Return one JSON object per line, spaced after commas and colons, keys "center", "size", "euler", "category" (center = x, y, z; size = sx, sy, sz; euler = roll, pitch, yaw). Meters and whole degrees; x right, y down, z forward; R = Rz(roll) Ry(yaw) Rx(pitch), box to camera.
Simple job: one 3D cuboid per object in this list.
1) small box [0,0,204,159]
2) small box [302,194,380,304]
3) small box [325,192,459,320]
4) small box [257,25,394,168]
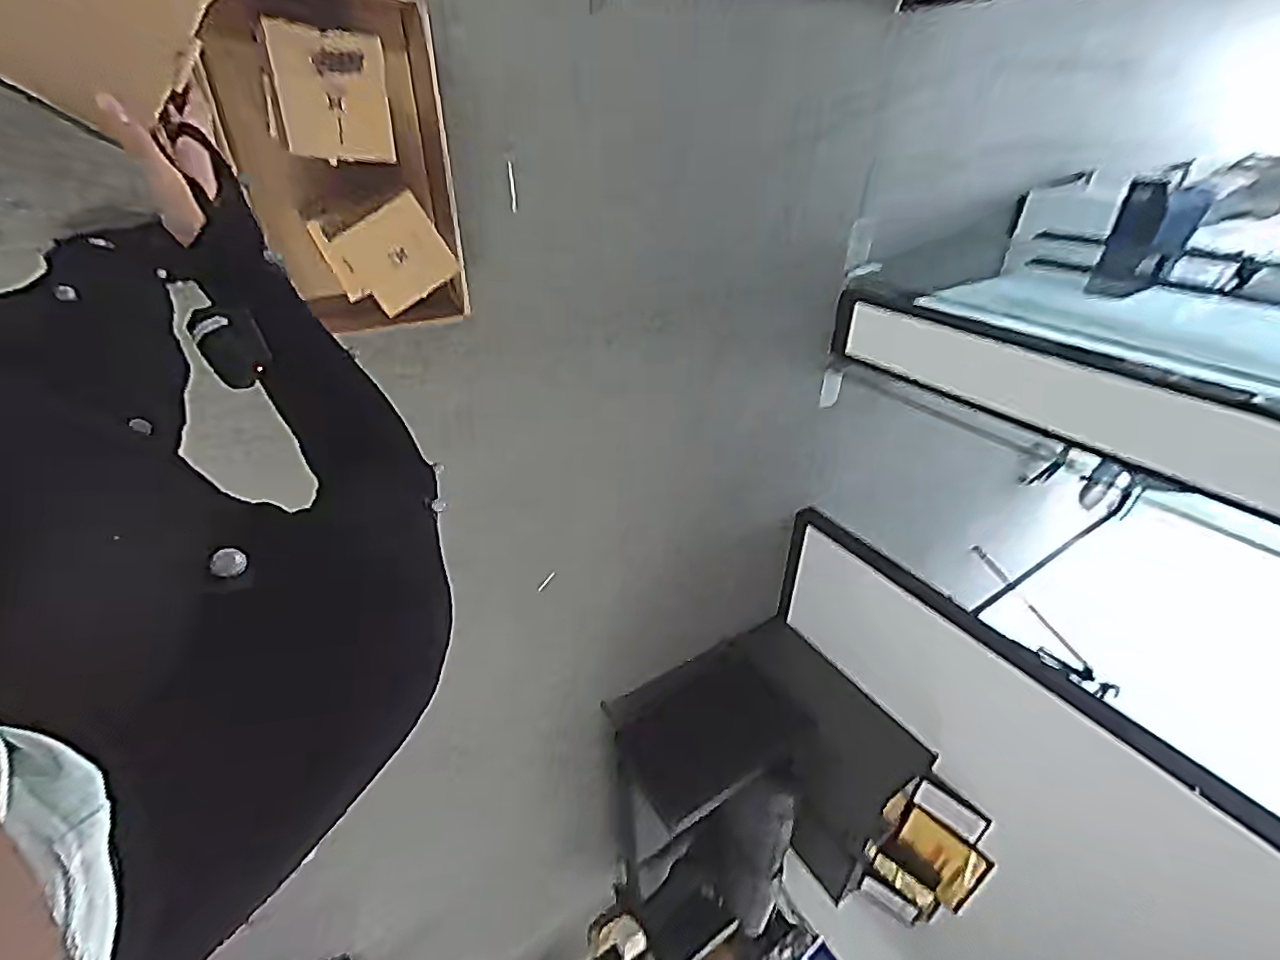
{"center": [-0.467, -0.375, 0.390], "size": [0.179, 0.176, 0.168], "euler": [18, 100, -60], "category": "small box"}
{"center": [-0.619, -0.515, 1.197], "size": [0.179, 0.176, 0.168], "euler": [-32, 132, -17], "category": "small box"}
{"center": [-0.505, -0.455, 1.092], "size": [0.179, 0.176, 0.168], "euler": [-39, 134, -10], "category": "small box"}
{"center": [-0.542, -0.652, 0.934], "size": [0.168, 0.176, 0.179], "euler": [-15, 128, -30], "category": "small box"}
